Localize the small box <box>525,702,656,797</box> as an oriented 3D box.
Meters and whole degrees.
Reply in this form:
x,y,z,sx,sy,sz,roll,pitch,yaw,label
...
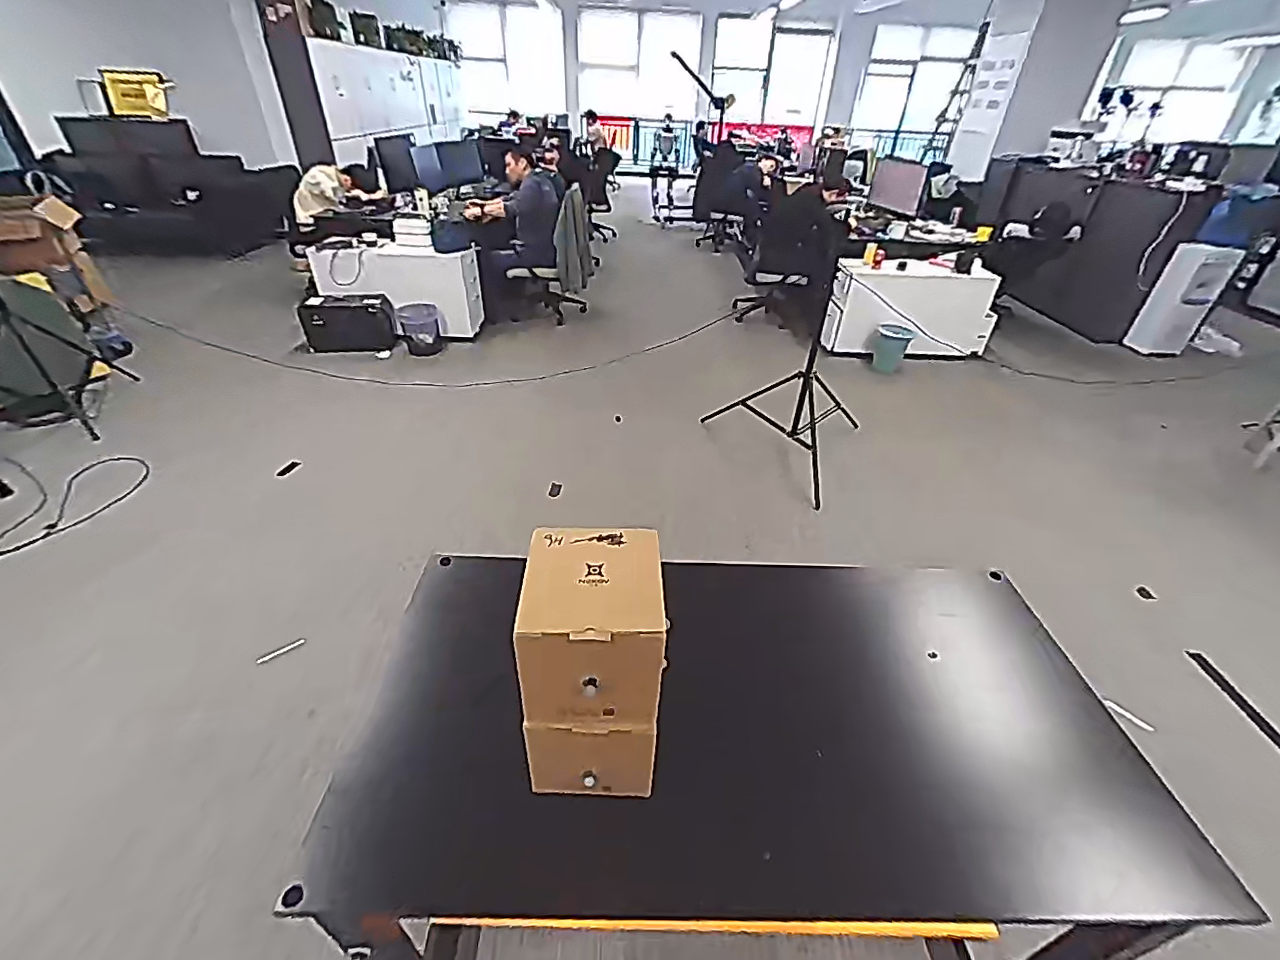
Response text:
x,y,z,sx,sy,sz,roll,pitch,yaw,label
-0.063,0.323,0.780,0.168,0.176,0.179,2,35,0,small box

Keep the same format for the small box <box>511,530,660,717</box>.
x,y,z,sx,sy,sz,roll,pitch,yaw,label
-0.061,0.184,0.693,0.168,0.176,0.179,0,36,-2,small box
